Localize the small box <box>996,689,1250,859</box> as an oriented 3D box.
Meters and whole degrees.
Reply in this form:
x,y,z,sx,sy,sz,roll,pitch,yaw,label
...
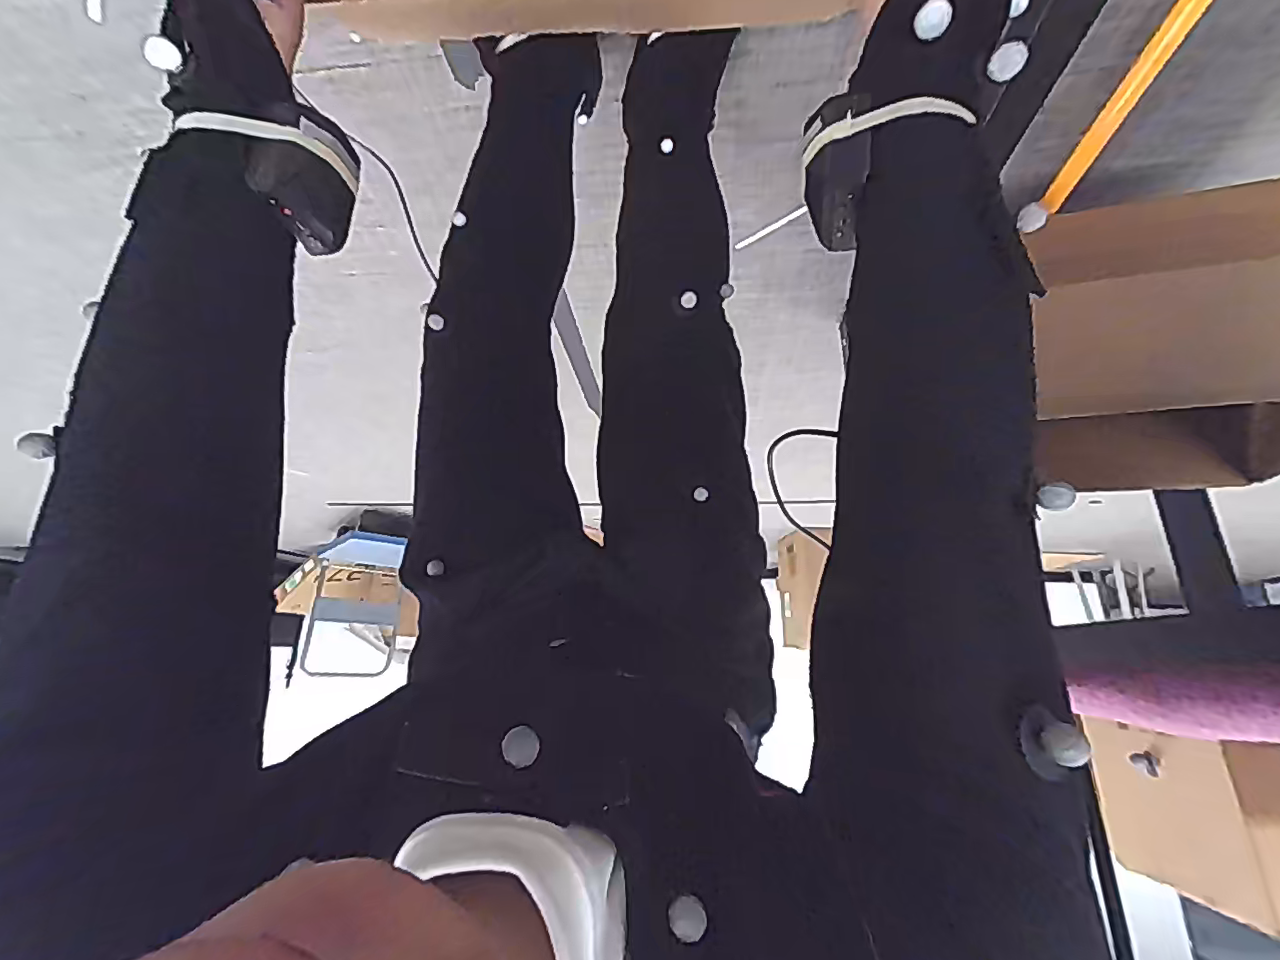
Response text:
x,y,z,sx,sy,sz,roll,pitch,yaw,label
0.612,0.371,0.710,0.179,0.176,0.168,0,161,3,small box
